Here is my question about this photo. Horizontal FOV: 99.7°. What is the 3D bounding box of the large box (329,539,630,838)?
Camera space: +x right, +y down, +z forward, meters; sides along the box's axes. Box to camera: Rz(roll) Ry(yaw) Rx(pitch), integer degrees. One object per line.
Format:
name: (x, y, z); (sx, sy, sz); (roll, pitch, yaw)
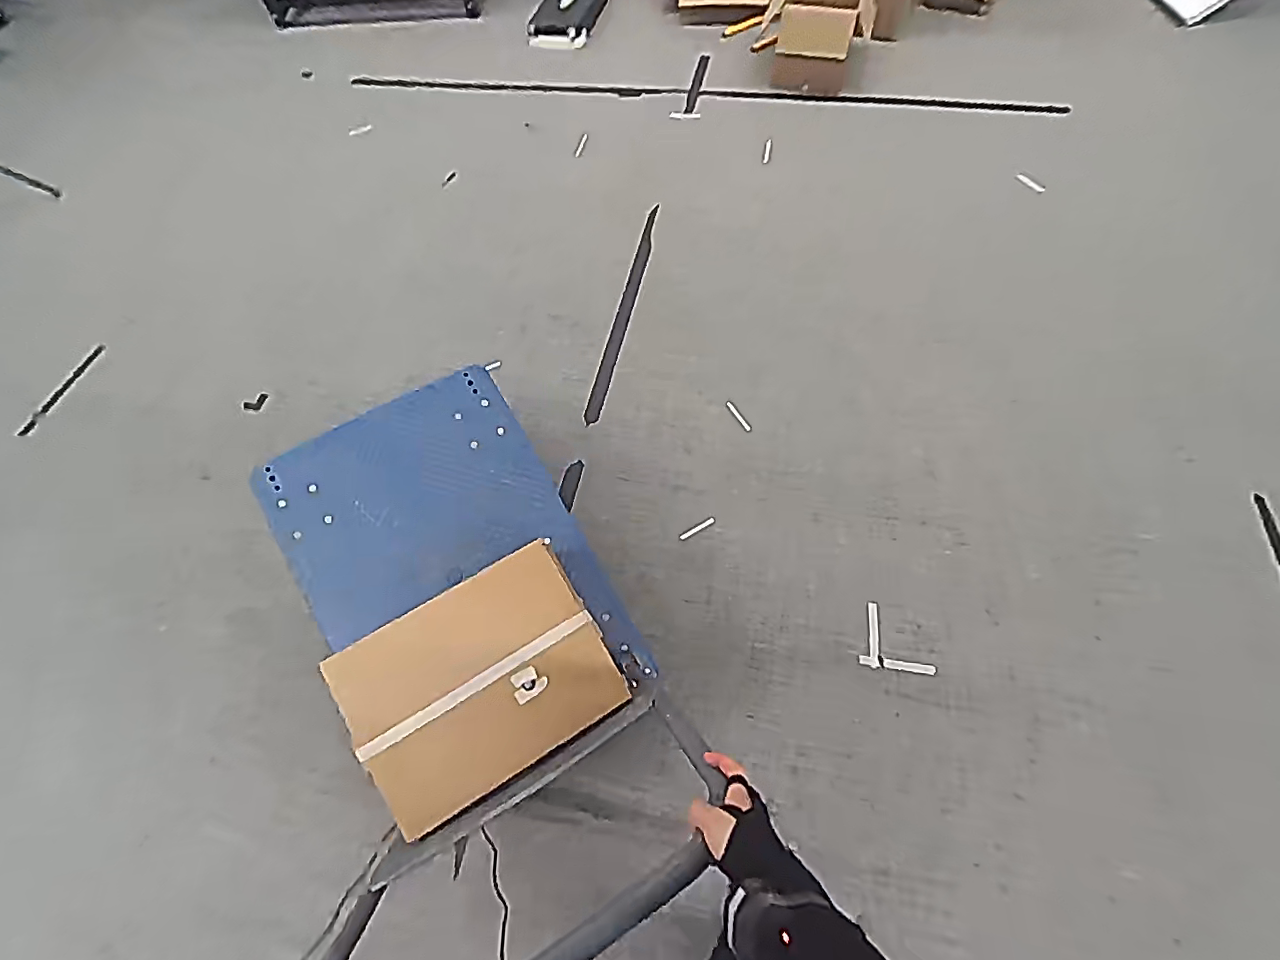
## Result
large box: (-0.279, 0.363, 1.038); (0.408, 0.320, 0.320); (-30, 84, -13)
